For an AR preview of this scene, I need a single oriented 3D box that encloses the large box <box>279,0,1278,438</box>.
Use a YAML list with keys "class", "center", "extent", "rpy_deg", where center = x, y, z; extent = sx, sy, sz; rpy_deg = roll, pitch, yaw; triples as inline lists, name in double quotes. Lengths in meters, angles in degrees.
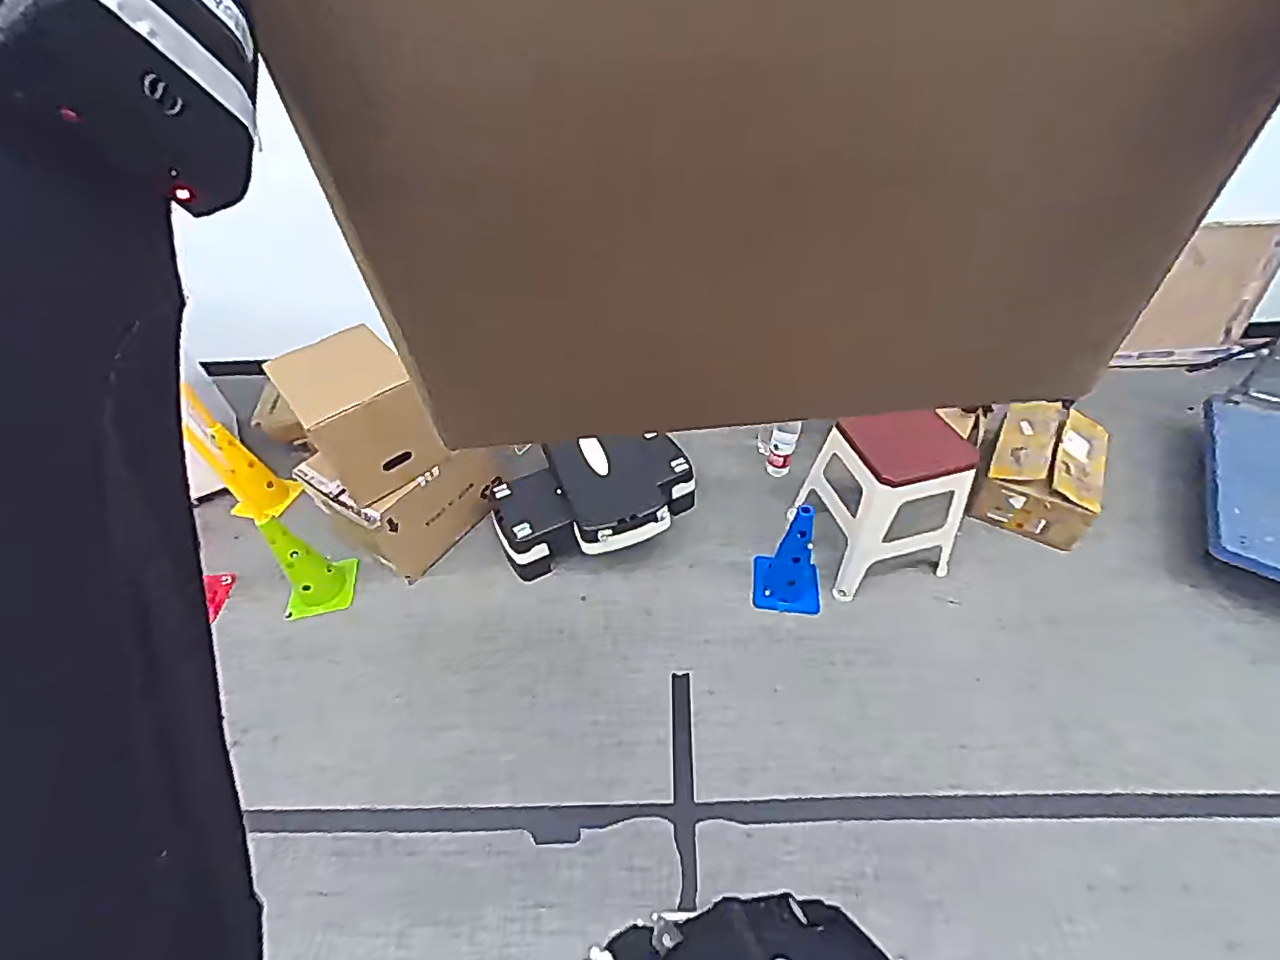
- class: "large box"
  center: [0.054, -0.253, 0.347]
  extent: [0.408, 0.320, 0.320]
  rpy_deg: [-5, 46, 0]
